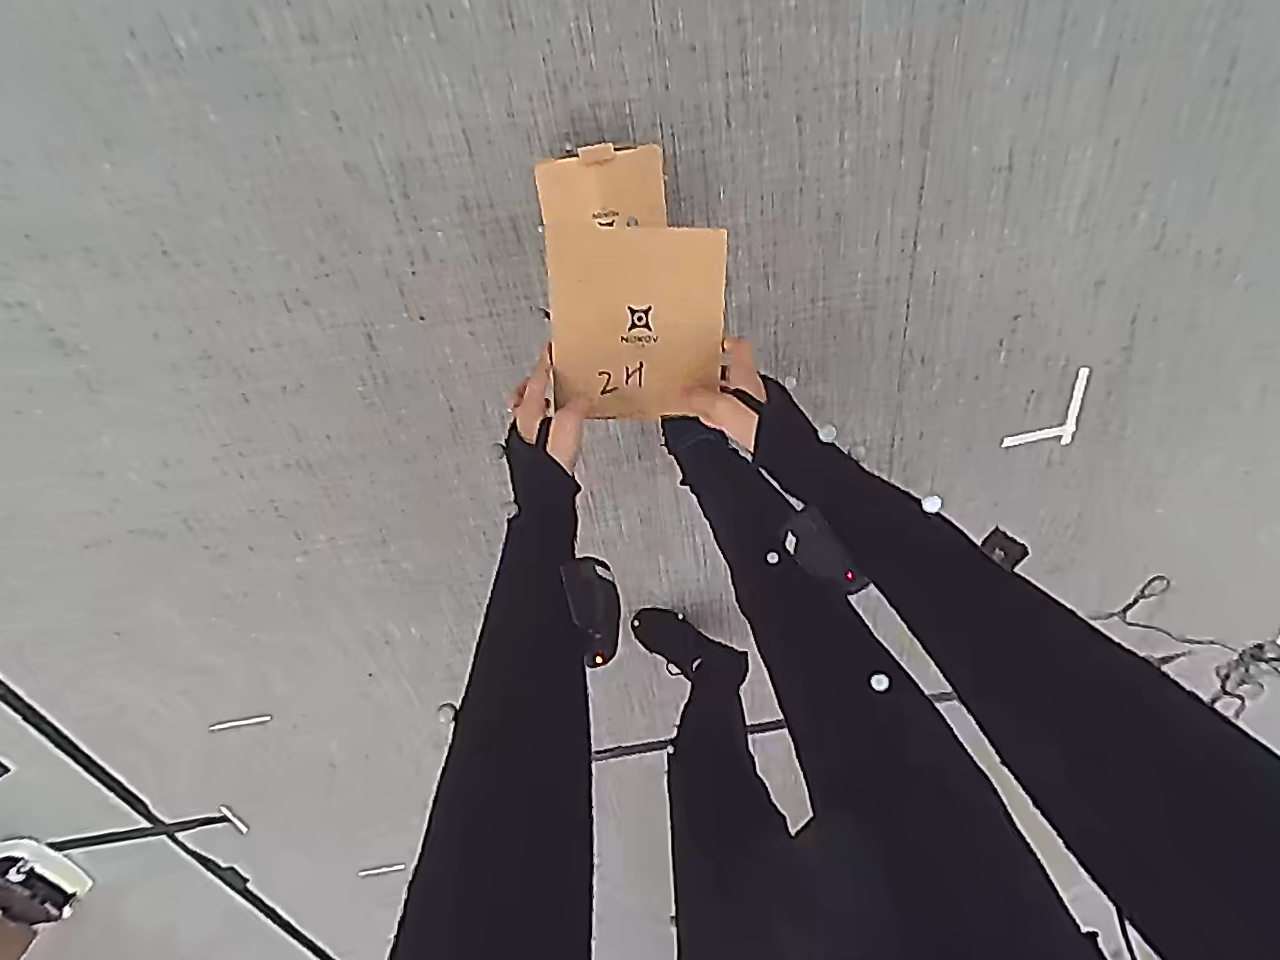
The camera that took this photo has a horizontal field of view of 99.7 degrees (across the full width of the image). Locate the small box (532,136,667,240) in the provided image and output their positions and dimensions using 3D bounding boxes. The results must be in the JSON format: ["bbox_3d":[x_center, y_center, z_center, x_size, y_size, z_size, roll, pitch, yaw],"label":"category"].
[{"bbox_3d":[-0.052,-0.377,0.774,0.168,0.176,0.179,-8,121,0],"label":"small box"}]

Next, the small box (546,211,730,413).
[{"bbox_3d":[-0.012,-0.176,0.570,0.168,0.176,0.179,-3,111,-8],"label":"small box"}]
